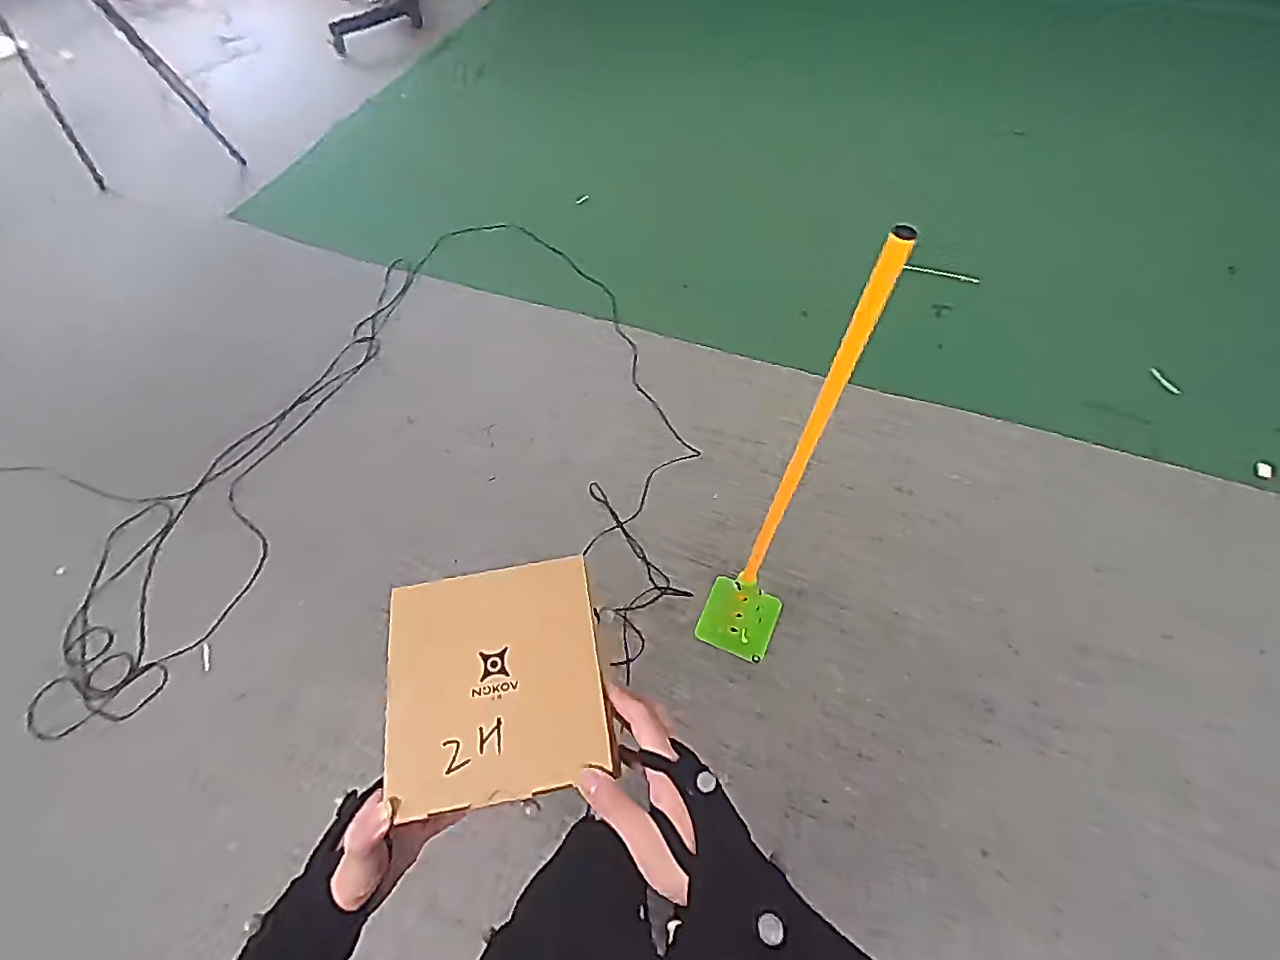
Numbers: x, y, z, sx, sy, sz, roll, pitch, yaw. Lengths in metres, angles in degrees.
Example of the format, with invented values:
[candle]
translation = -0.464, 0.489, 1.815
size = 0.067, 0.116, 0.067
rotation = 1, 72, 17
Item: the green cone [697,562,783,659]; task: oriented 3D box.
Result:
[green cone]
translation = 0.262, 0.291, 1.371
size = 0.202, 0.368, 0.200
rotation = 20, 64, 18
